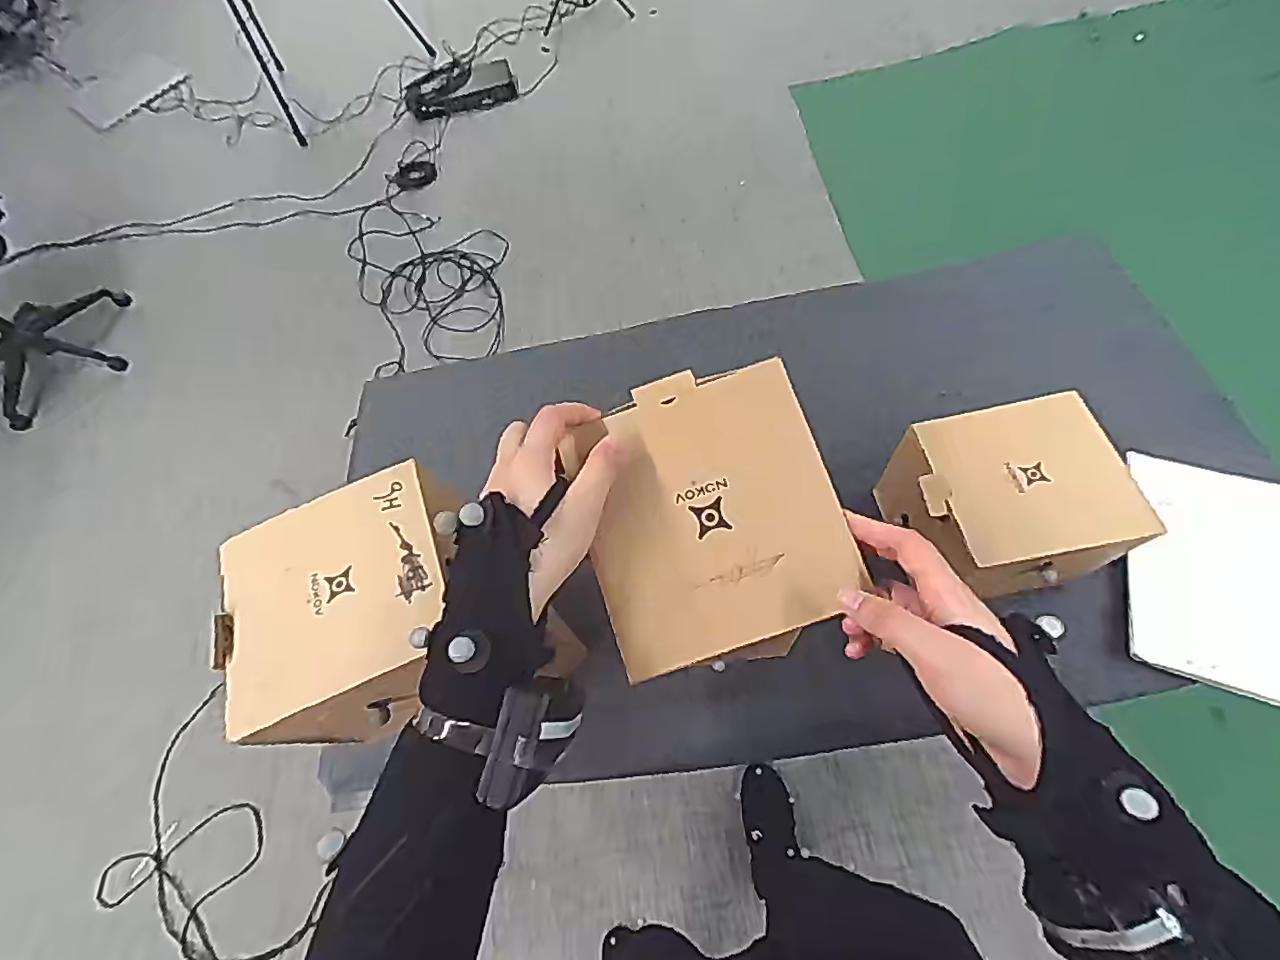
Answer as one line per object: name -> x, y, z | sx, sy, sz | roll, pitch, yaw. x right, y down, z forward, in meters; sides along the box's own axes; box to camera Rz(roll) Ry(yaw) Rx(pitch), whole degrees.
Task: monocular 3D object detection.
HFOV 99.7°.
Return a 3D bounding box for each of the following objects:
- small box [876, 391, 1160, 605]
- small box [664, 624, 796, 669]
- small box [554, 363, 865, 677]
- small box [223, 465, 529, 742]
small box -> 0.394, 0.029, 0.606 | 0.179, 0.176, 0.168 | -13, 62, 5
small box -> 0.073, 0.110, 0.624 | 0.168, 0.176, 0.179 | -9, 63, 7
small box -> 0.046, 0.037, 0.438 | 0.168, 0.176, 0.179 | -19, 79, 1
small box -> -0.227, 0.121, 0.488 | 0.179, 0.176, 0.168 | -25, 63, -1
